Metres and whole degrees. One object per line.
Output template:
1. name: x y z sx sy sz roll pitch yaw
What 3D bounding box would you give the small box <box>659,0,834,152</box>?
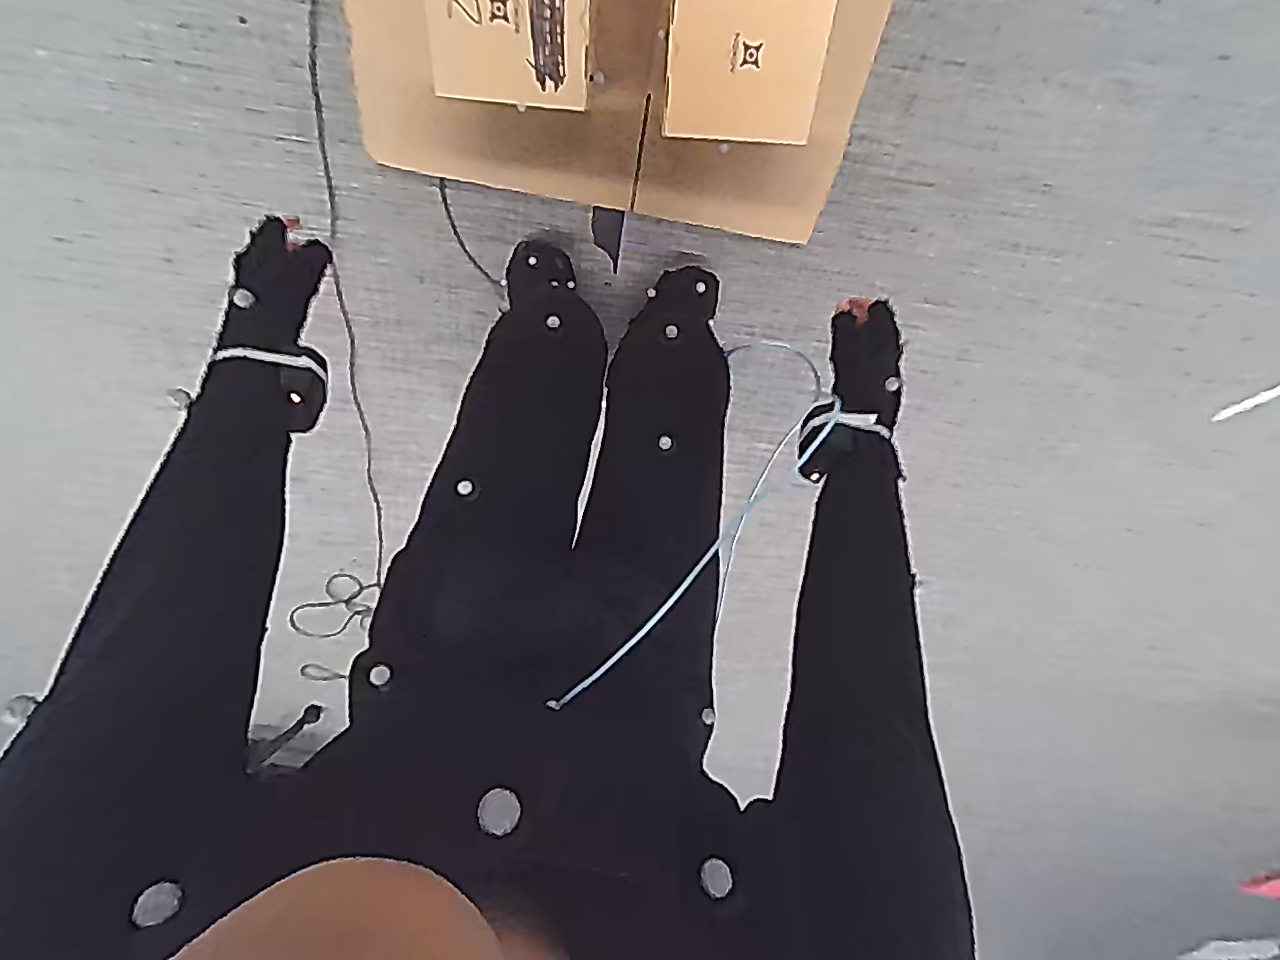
1. small box: 0.116 -0.518 0.664 0.179 0.176 0.168 4 129 0
